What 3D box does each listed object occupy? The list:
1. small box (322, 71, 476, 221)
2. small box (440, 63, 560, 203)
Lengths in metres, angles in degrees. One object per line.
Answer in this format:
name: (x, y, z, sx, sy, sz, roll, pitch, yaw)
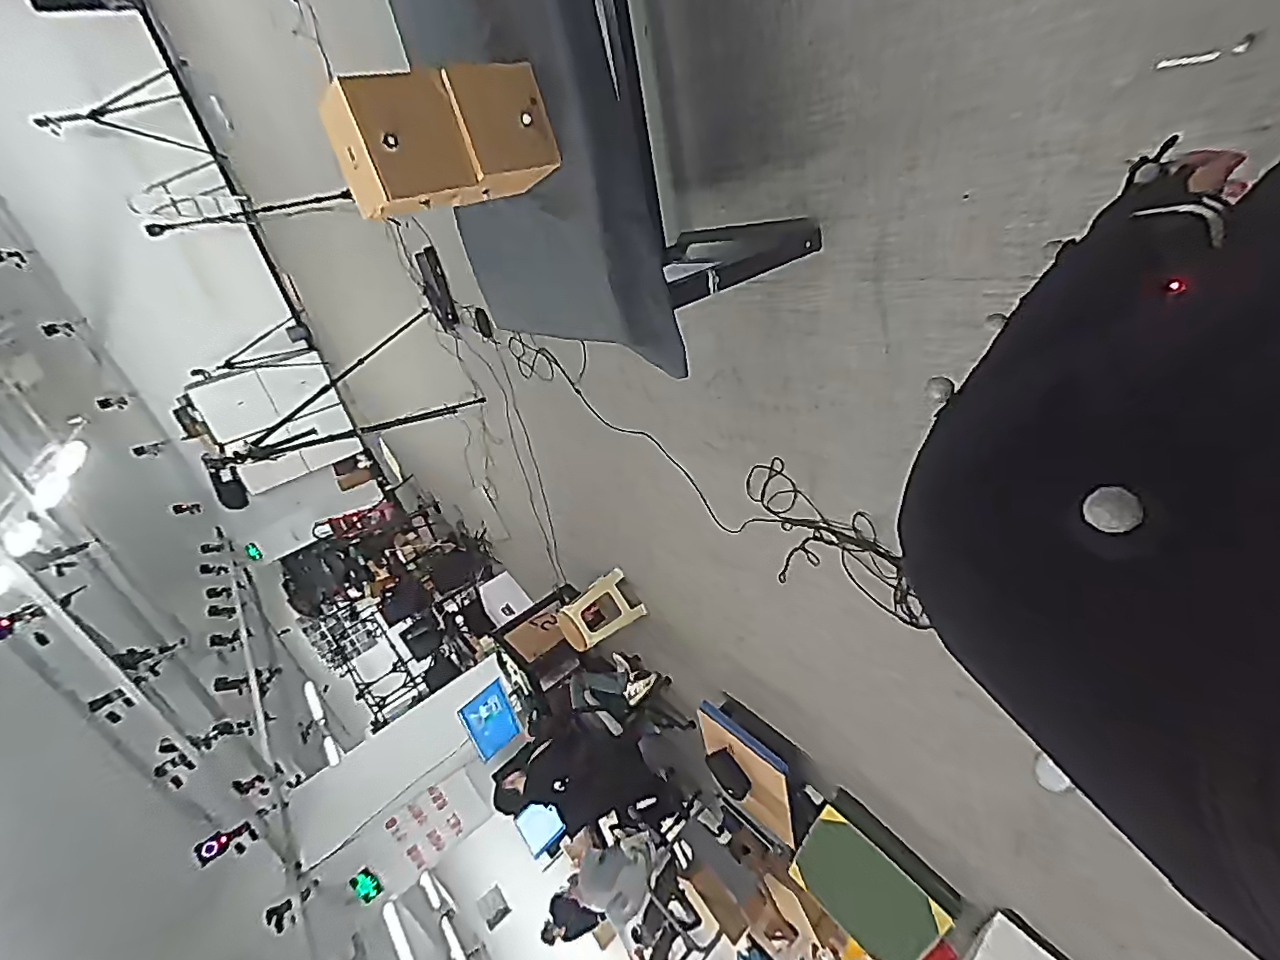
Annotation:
small box: (-0.408, -0.570, 0.931, 0.168, 0.176, 0.179, 15, 127, 50)
small box: (-0.276, -0.636, 1.001, 0.179, 0.176, 0.168, 10, 125, 52)
